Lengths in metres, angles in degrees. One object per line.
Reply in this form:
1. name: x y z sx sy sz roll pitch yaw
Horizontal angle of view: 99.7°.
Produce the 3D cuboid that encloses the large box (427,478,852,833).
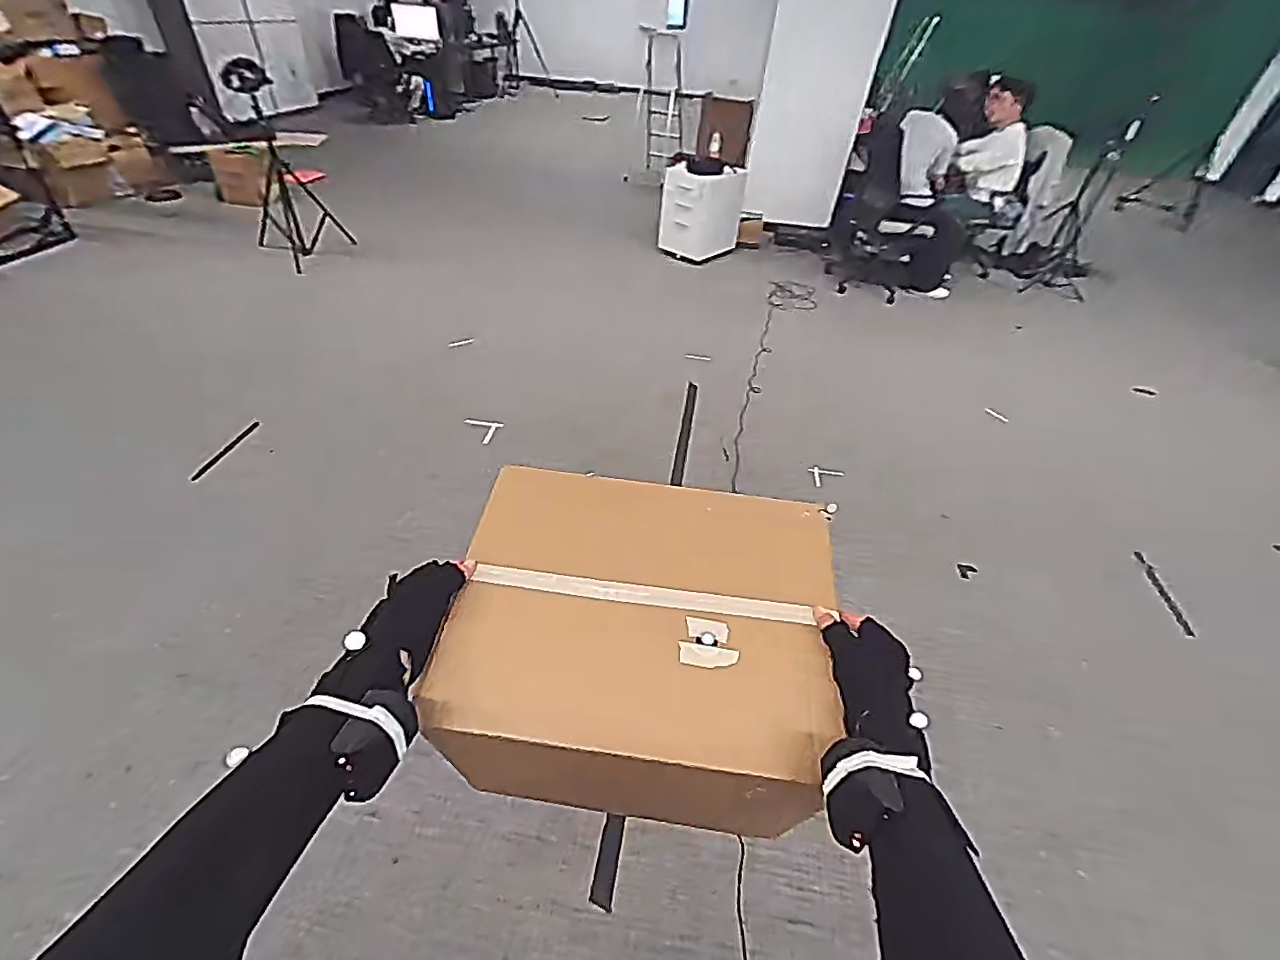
1. large box: 0.005 0.230 0.701 0.408 0.320 0.320 8 50 3
